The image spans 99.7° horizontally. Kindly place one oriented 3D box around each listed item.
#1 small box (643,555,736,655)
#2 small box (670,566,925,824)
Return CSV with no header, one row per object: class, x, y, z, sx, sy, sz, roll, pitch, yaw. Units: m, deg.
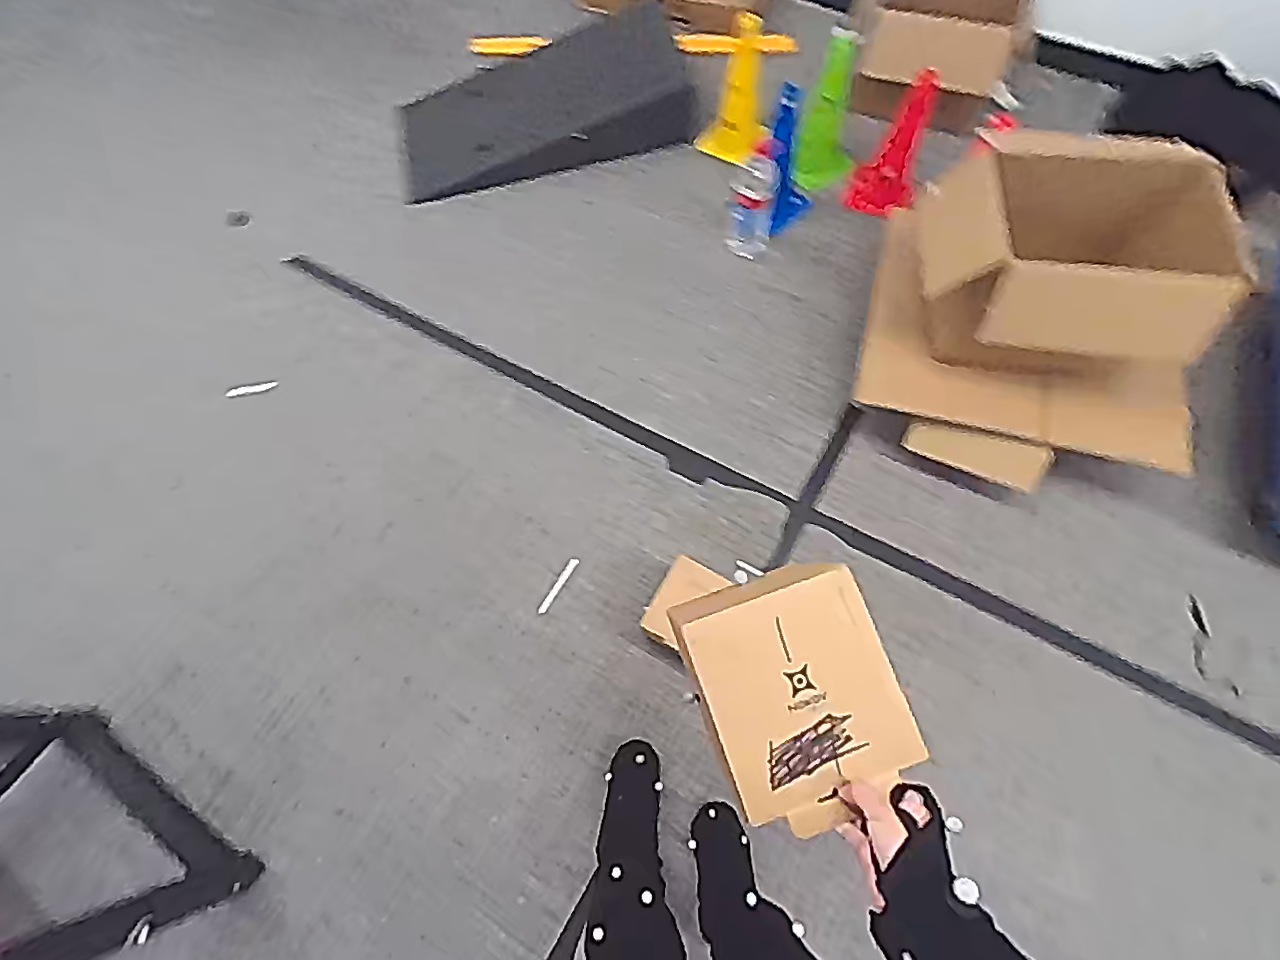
small box,0.122,0.294,1.183,0.168,0.176,0.179,29,72,12
small box,0.138,0.193,0.543,0.168,0.176,0.179,-19,82,-5
